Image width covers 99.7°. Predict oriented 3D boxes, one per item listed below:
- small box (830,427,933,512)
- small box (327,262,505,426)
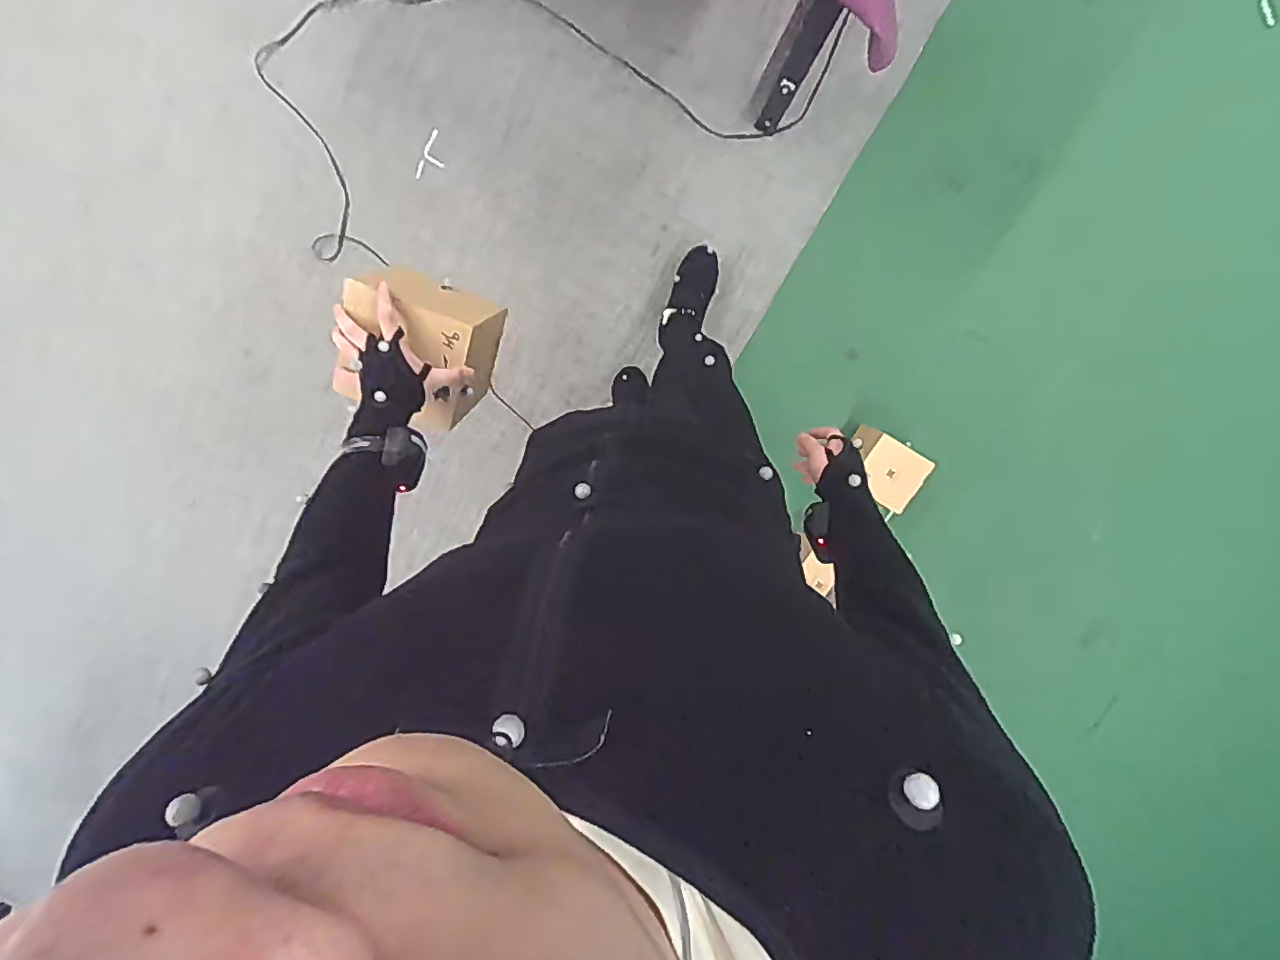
[{"bbox_3d":[0.674,-0.039,1.534,0.179,0.176,0.168,29,103,-7],"label":"small box"},{"bbox_3d":[-0.324,-0.209,0.802,0.179,0.176,0.168,21,118,-6],"label":"small box"}]
